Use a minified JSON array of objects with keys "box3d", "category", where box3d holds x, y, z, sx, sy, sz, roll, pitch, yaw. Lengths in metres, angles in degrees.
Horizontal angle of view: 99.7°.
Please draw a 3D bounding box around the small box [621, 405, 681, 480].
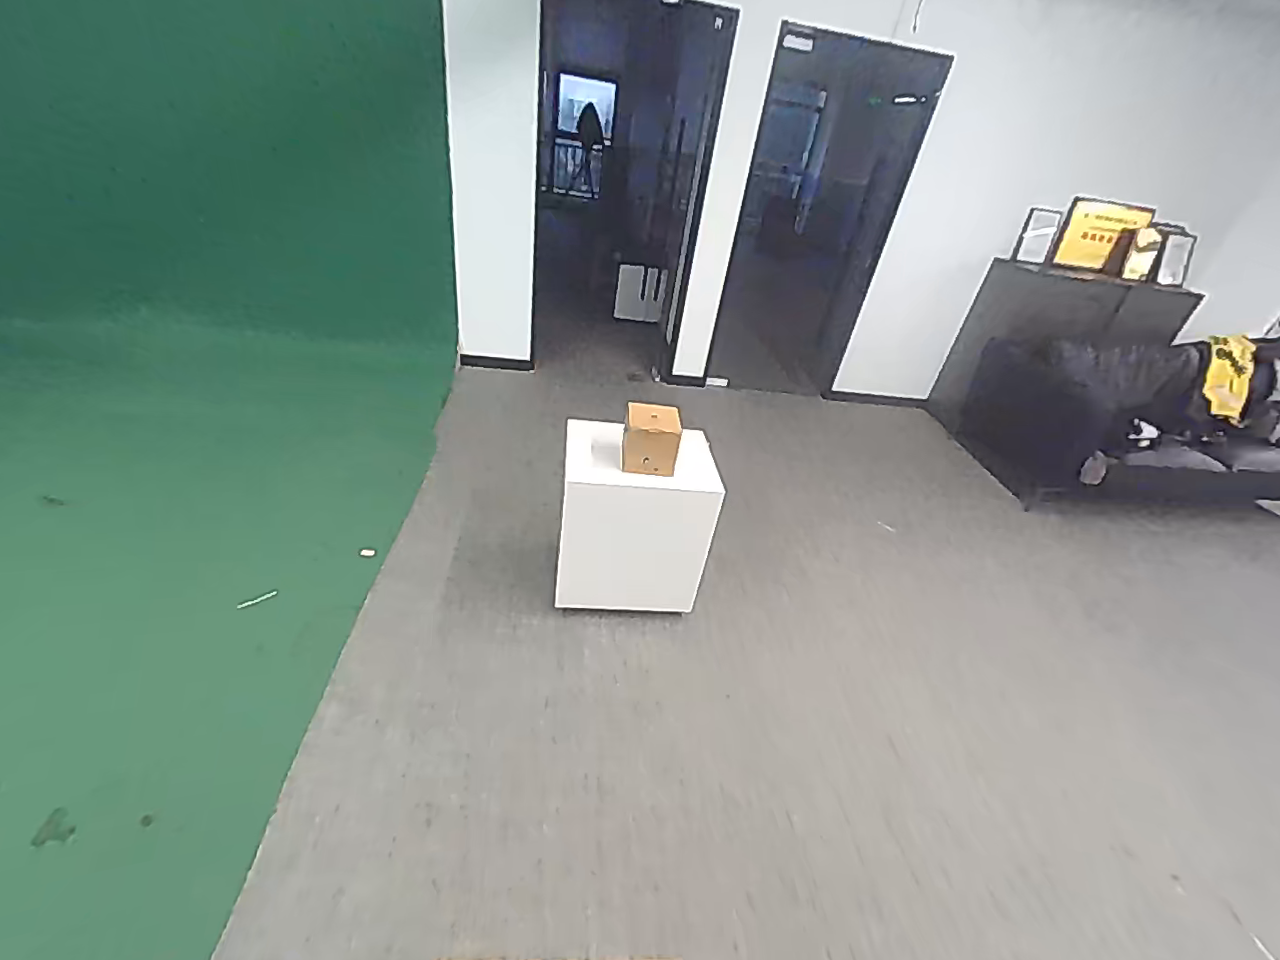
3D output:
[{"box3d":[0.030,-0.122,1.750,0.168,0.176,0.179,5,33,-7],"category":"small box"}]
